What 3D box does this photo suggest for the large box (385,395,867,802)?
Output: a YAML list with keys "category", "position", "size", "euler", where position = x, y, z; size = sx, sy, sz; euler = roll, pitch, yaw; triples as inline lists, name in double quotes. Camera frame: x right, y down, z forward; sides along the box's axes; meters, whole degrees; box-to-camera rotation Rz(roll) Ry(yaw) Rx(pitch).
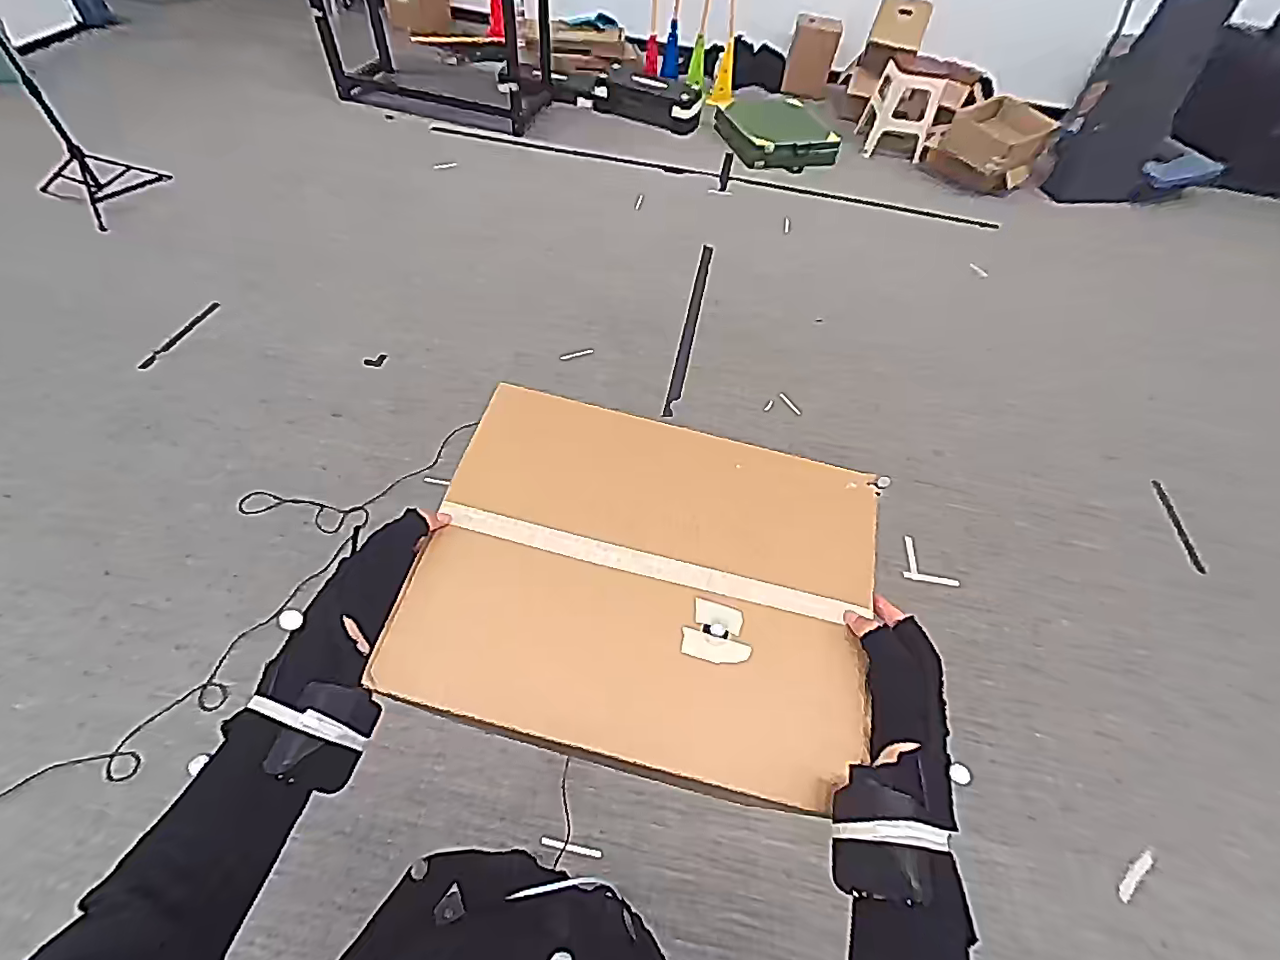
- category: "large box"
  position: [-0.001, 0.152, 0.634]
  size: [0.408, 0.320, 0.320]
  euler: [14, 62, 1]
